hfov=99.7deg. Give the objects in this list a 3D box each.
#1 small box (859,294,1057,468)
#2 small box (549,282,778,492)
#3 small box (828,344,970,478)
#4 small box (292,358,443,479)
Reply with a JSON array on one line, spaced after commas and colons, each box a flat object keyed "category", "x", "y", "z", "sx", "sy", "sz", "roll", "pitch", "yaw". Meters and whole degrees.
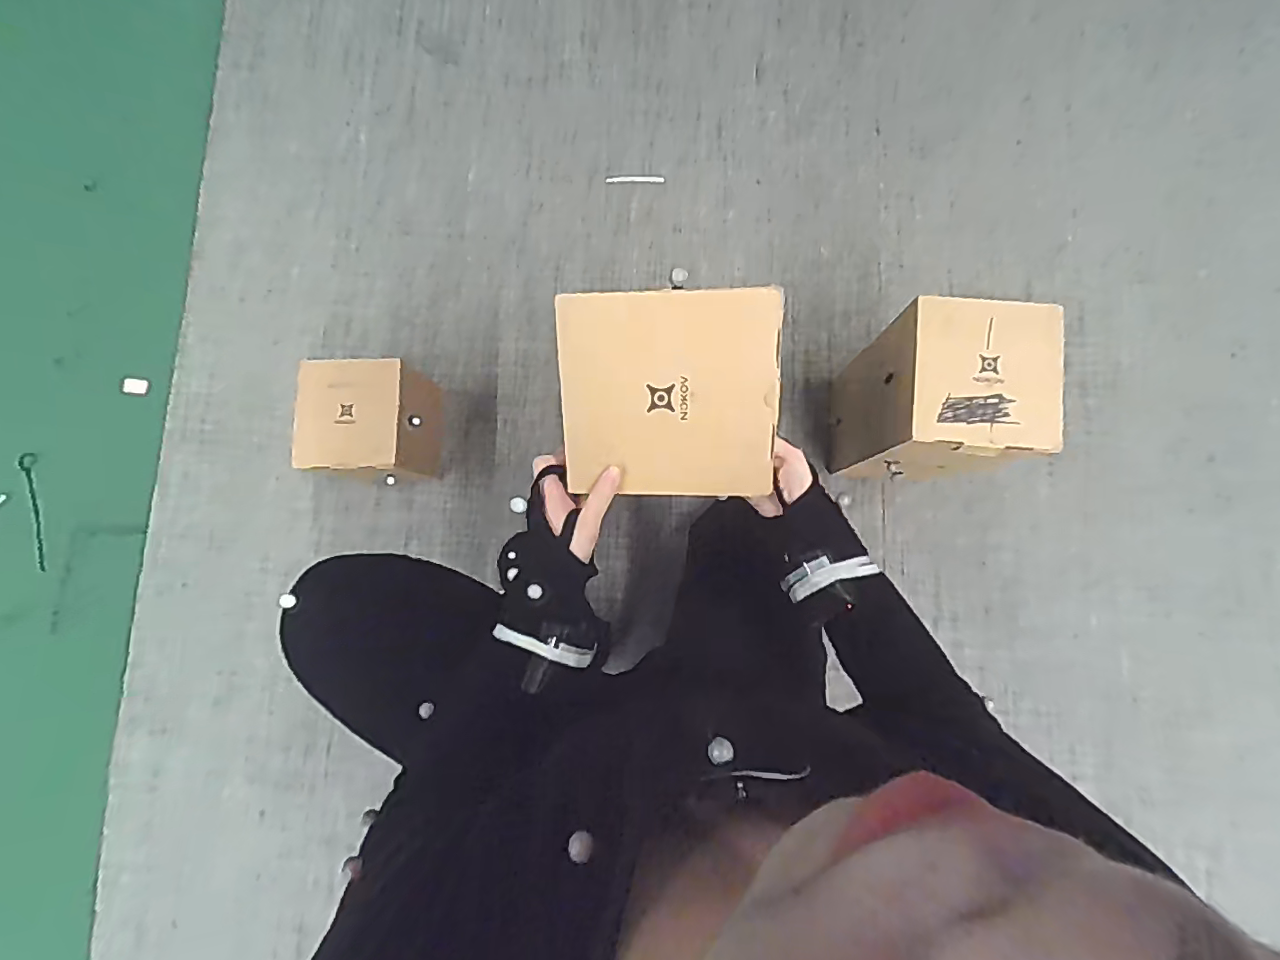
[{"category": "small box", "x": 0.394, "y": -0.116, "z": 0.696, "sx": 0.168, "sy": 0.176, "sz": 0.179, "roll": 5, "pitch": 82, "yaw": 4}, {"category": "small box", "x": 0.024, "y": -0.094, "z": 0.507, "sx": 0.179, "sy": 0.176, "sz": 0.168, "roll": 1, "pitch": 108, "yaw": 5}, {"category": "small box", "x": 0.406, "y": -0.100, "z": 0.860, "sx": 0.168, "sy": 0.176, "sz": 0.179, "roll": 4, "pitch": 84, "yaw": 4}, {"category": "small box", "x": -0.449, "y": -0.096, "z": 0.917, "sx": 0.168, "sy": 0.176, "sz": 0.179, "roll": 0, "pitch": 82, "yaw": 3}]
